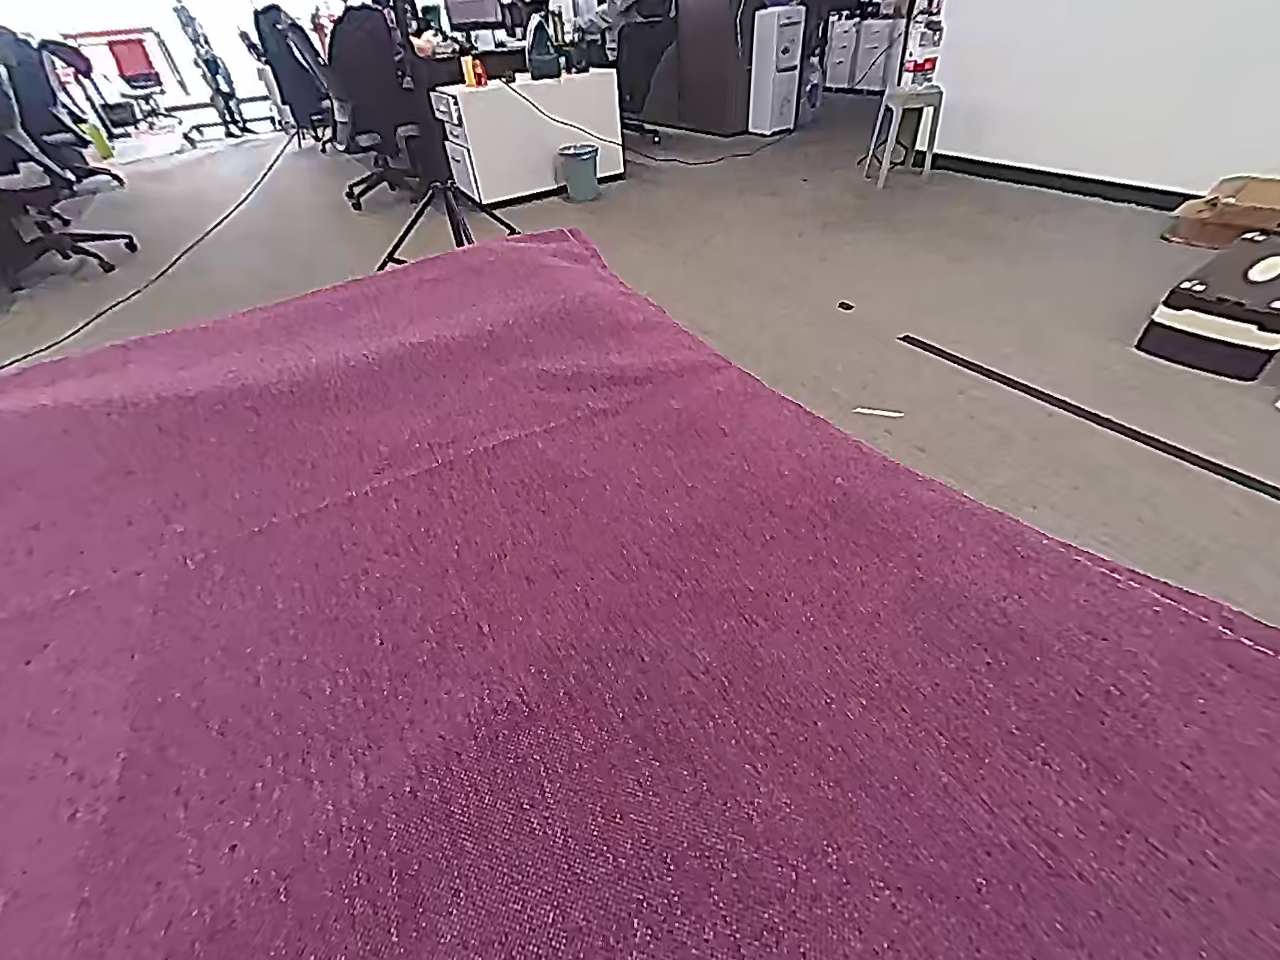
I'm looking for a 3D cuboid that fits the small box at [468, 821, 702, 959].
[{"bbox_3d":[-0.034,0.497,0.532,0.179,0.176,0.168,-31,39,-20],"label":"small box"}]
